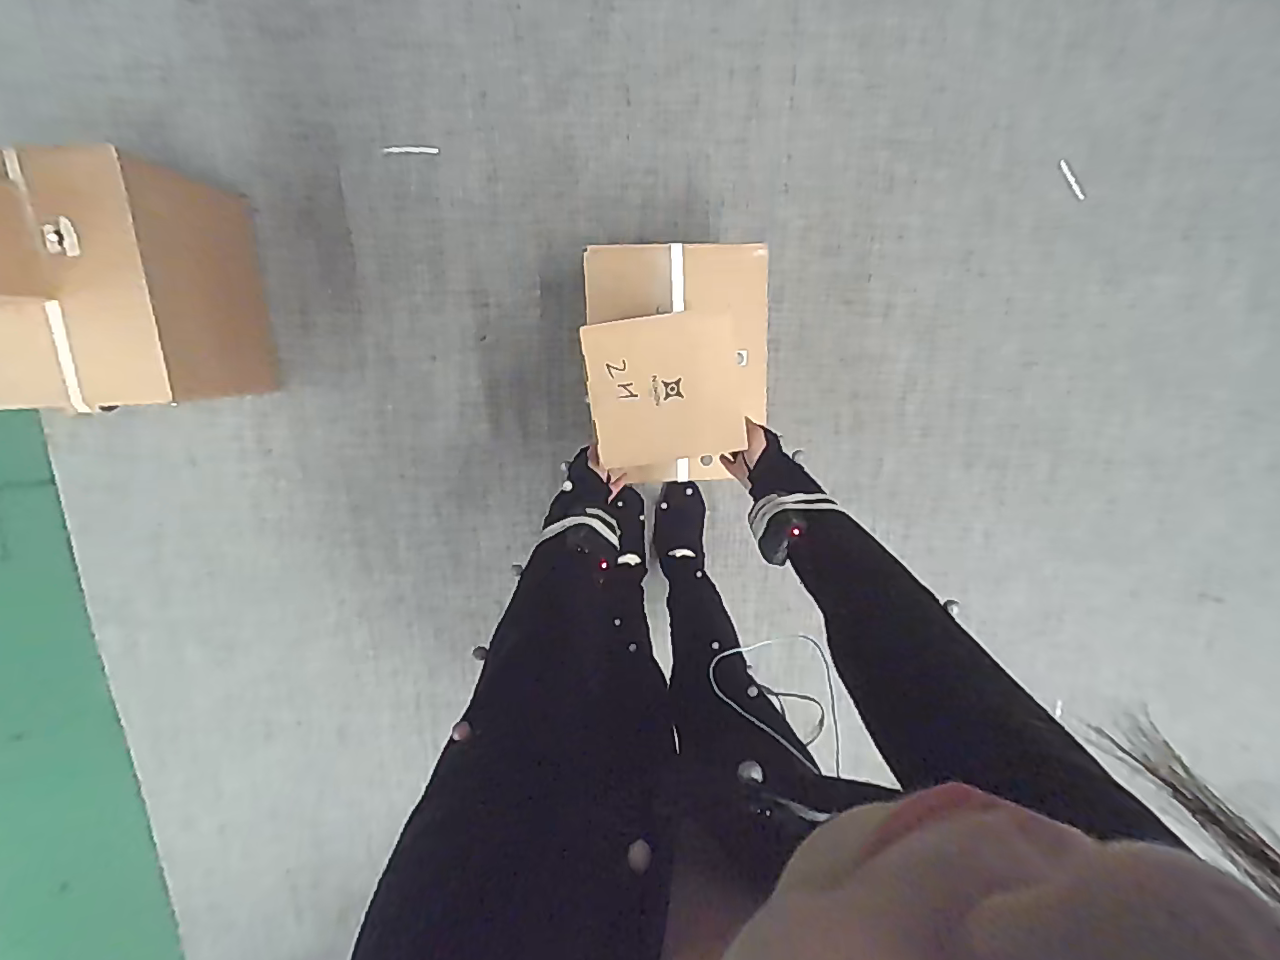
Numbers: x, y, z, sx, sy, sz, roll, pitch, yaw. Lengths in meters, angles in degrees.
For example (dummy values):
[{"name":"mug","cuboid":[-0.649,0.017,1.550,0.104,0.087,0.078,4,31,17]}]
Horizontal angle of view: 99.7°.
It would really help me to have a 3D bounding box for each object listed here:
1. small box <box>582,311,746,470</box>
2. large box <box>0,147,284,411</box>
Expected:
[{"name":"small box","cuboid":[0.029,-0.116,0.695,0.179,0.176,0.168,-7,101,2]},{"name":"large box","cuboid":[-0.956,-0.349,1.029,0.320,0.320,0.408,-2,103,-1]}]
